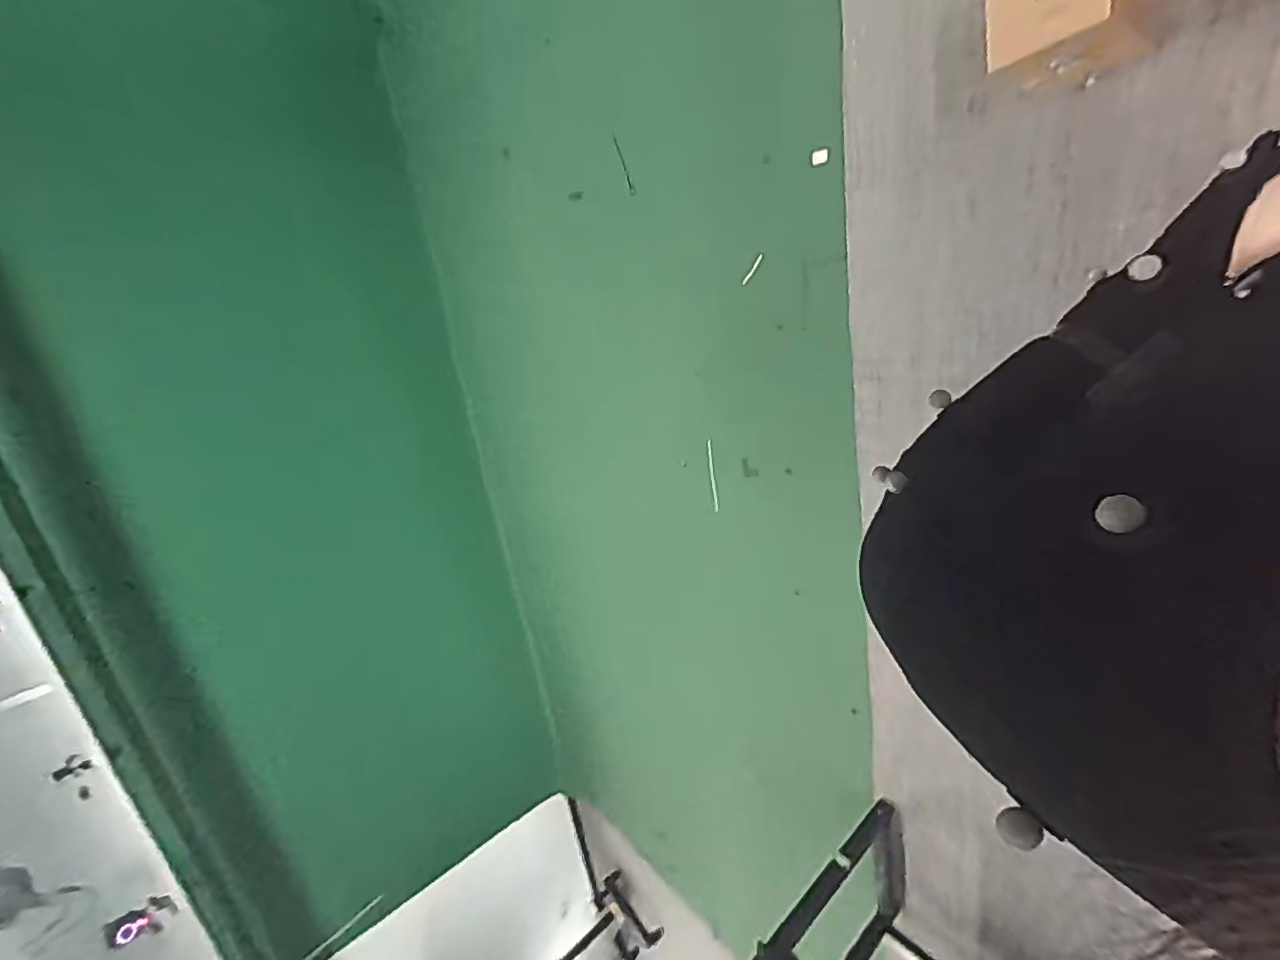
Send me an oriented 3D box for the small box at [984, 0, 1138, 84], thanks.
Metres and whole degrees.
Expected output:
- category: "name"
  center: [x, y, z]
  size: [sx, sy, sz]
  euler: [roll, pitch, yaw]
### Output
- category: "small box"
  center: [0.687, -0.789, 0.883]
  size: [0.168, 0.176, 0.179]
  euler: [7, 112, 53]
